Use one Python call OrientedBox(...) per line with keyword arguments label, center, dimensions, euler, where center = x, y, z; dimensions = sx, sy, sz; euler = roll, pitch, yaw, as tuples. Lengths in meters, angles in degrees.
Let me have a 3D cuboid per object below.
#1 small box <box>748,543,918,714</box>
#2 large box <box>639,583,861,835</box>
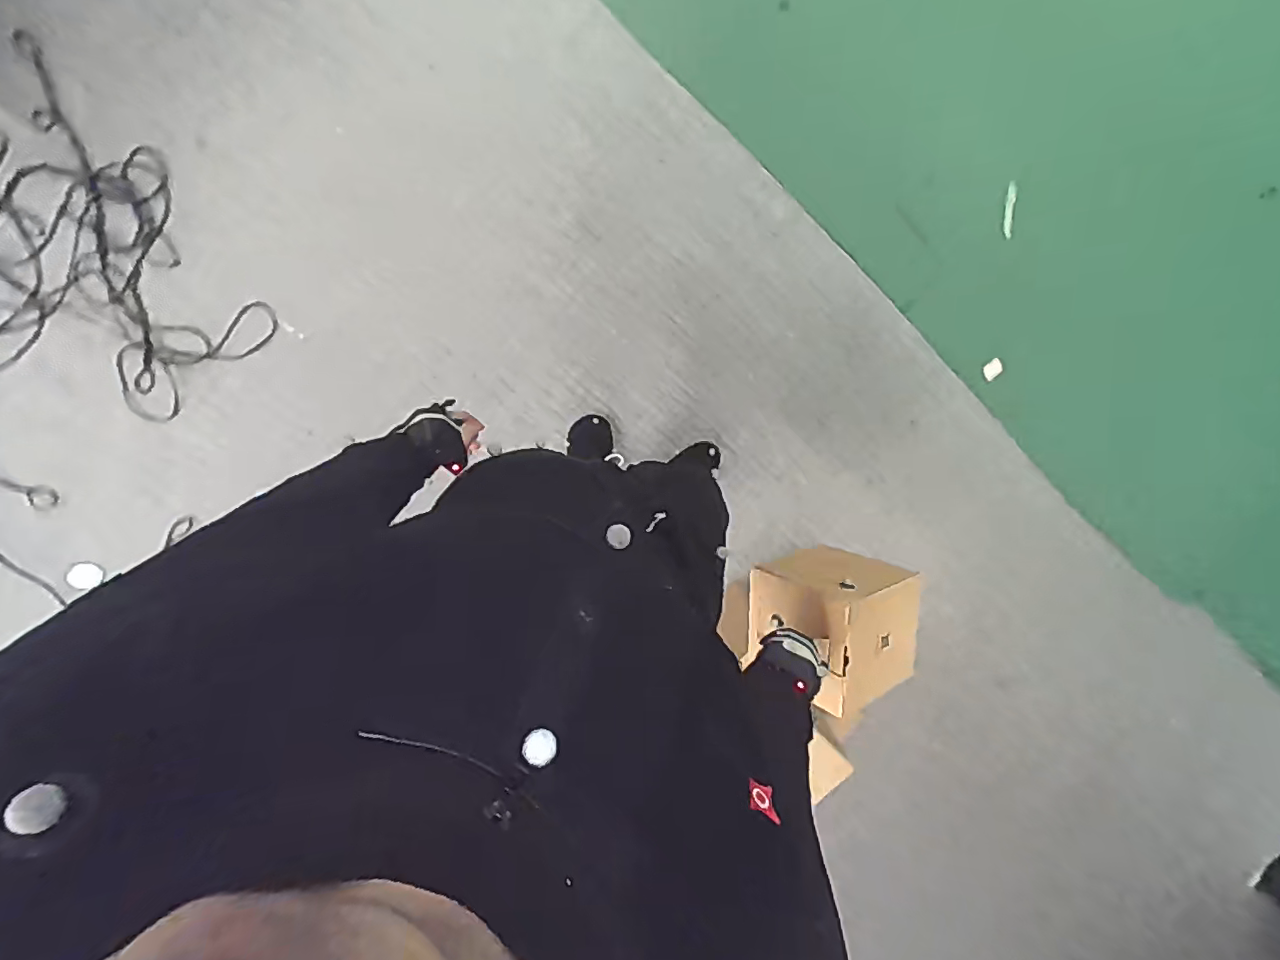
OrientedBox(label="small box", center=(0.280, 0.201, 0.797), dimensions=(0.179, 0.176, 0.168), euler=(-11, 103, -34))
OrientedBox(label="large box", center=(0.241, 0.537, 1.328), dimensions=(0.320, 0.320, 0.408), euler=(40, 98, -9))
